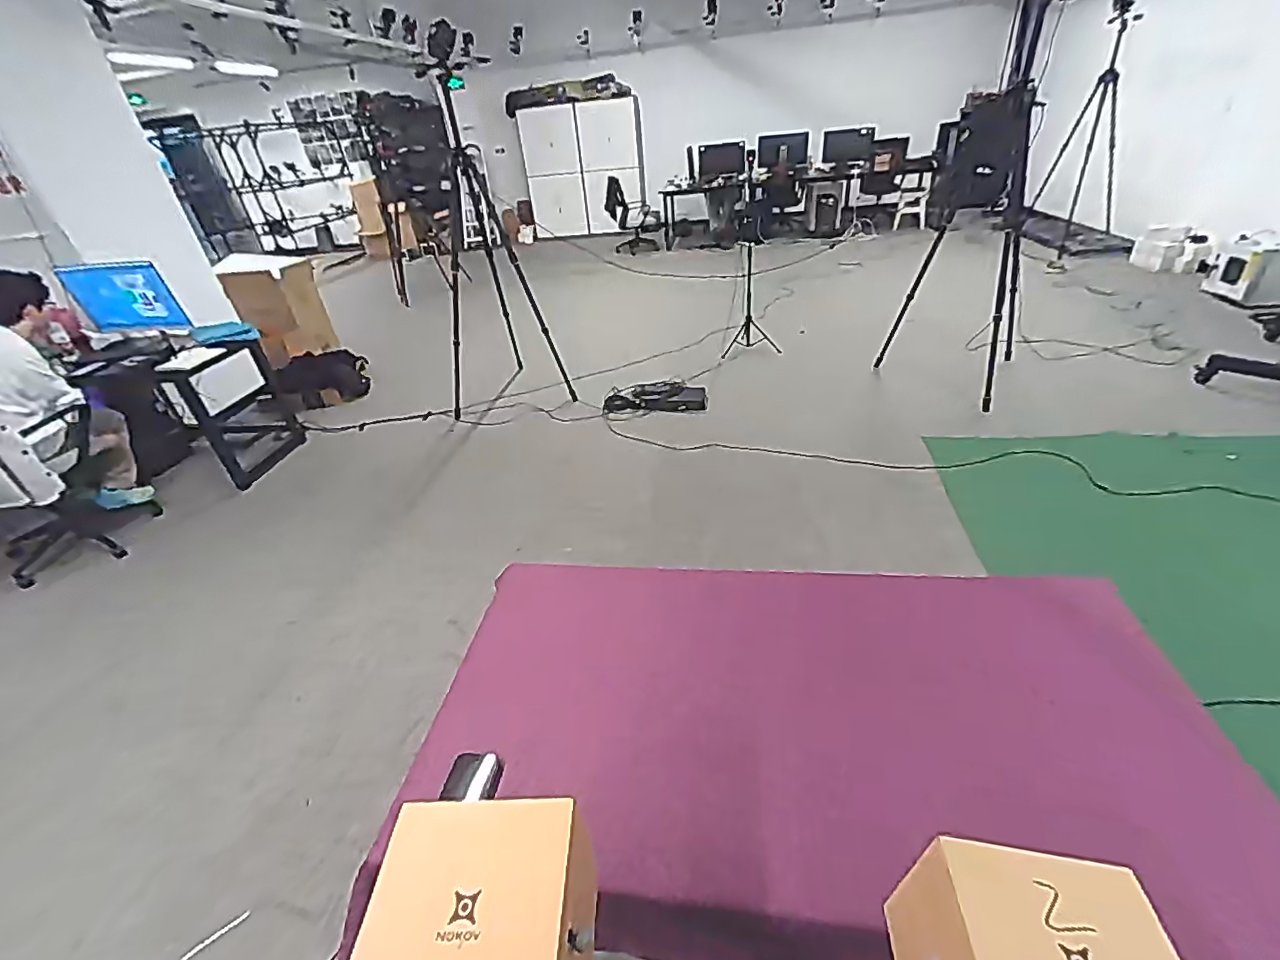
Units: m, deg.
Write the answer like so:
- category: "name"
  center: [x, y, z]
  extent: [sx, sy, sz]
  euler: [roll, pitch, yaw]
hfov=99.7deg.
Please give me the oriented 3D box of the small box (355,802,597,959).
- category: "small box"
  center: [-0.133, 0.417, 0.479]
  extent: [0.168, 0.176, 0.179]
  euler: [-3, 36, 3]
